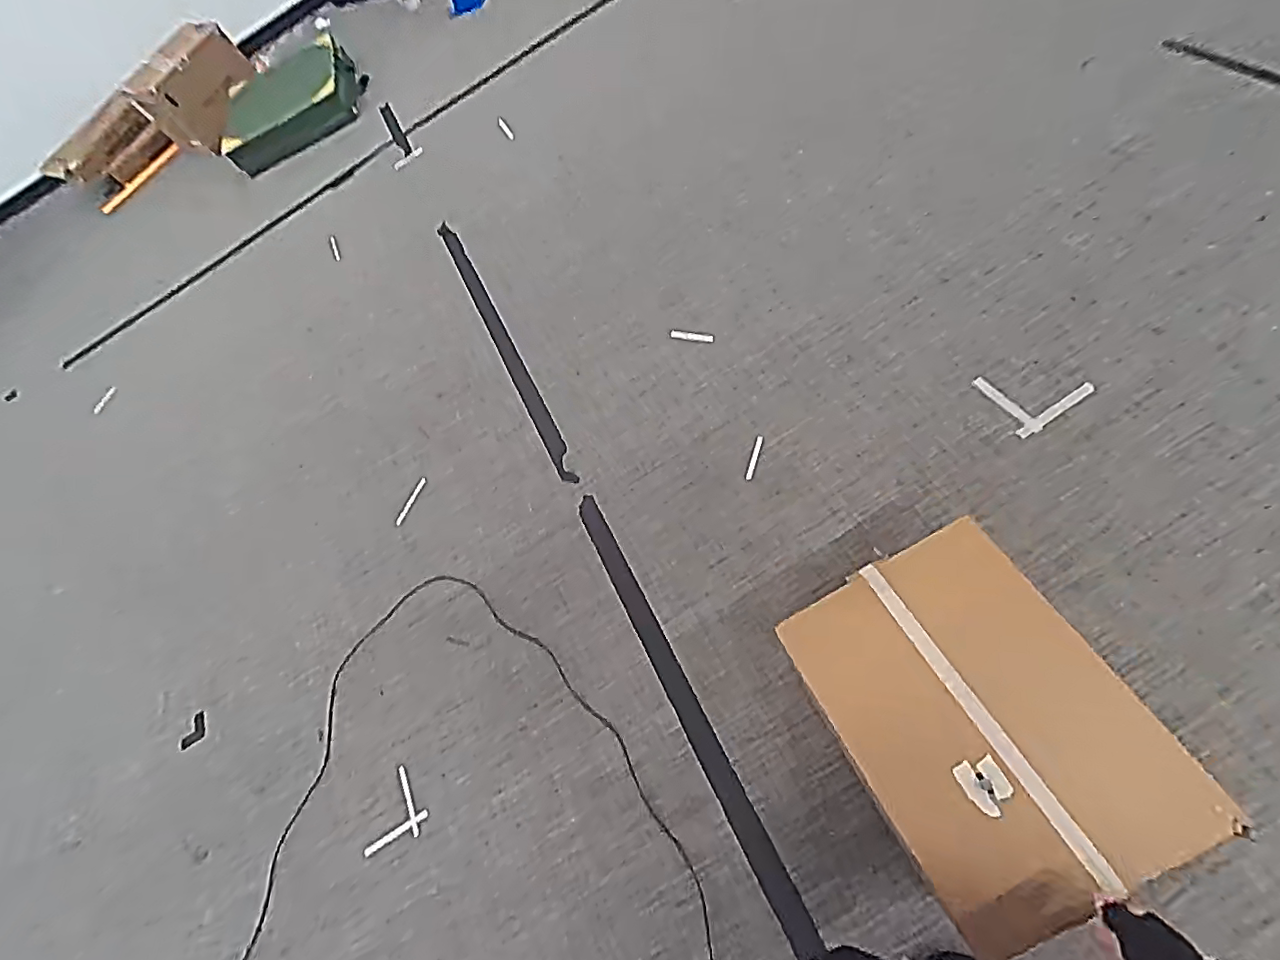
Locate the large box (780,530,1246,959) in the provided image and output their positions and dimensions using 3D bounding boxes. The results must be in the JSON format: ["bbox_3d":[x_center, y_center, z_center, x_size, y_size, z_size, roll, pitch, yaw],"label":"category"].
[{"bbox_3d":[0.452,0.352,0.789,0.320,0.320,0.408,-32,60,2],"label":"large box"}]
